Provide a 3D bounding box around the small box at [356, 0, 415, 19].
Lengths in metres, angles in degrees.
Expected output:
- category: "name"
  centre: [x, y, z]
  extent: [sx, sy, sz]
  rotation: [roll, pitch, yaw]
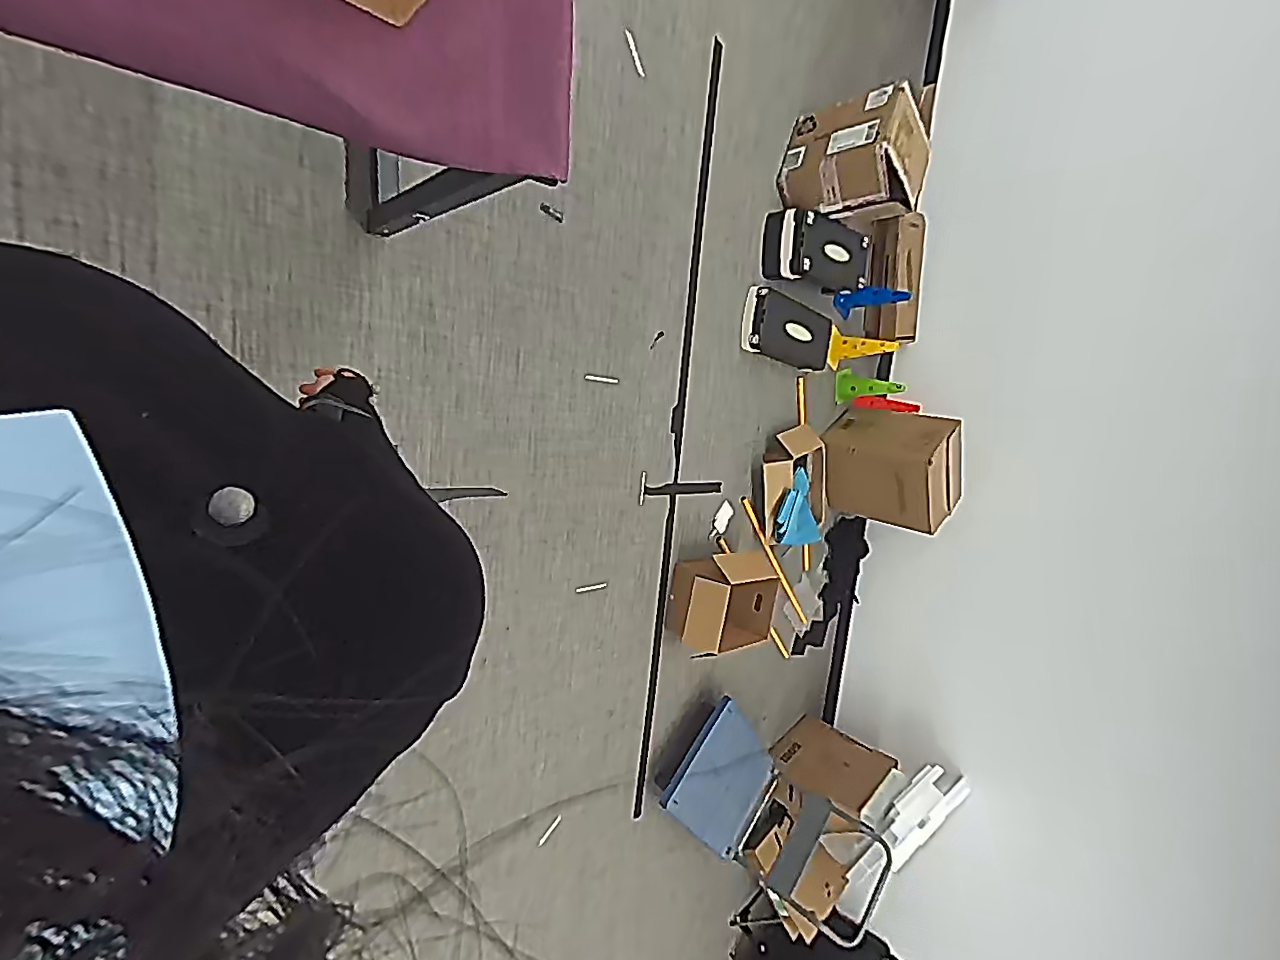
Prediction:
- category: "small box"
  centre: [-0.305, -0.647, 0.569]
  extent: [0.168, 0.176, 0.179]
  rotation: [-5, 103, -45]
